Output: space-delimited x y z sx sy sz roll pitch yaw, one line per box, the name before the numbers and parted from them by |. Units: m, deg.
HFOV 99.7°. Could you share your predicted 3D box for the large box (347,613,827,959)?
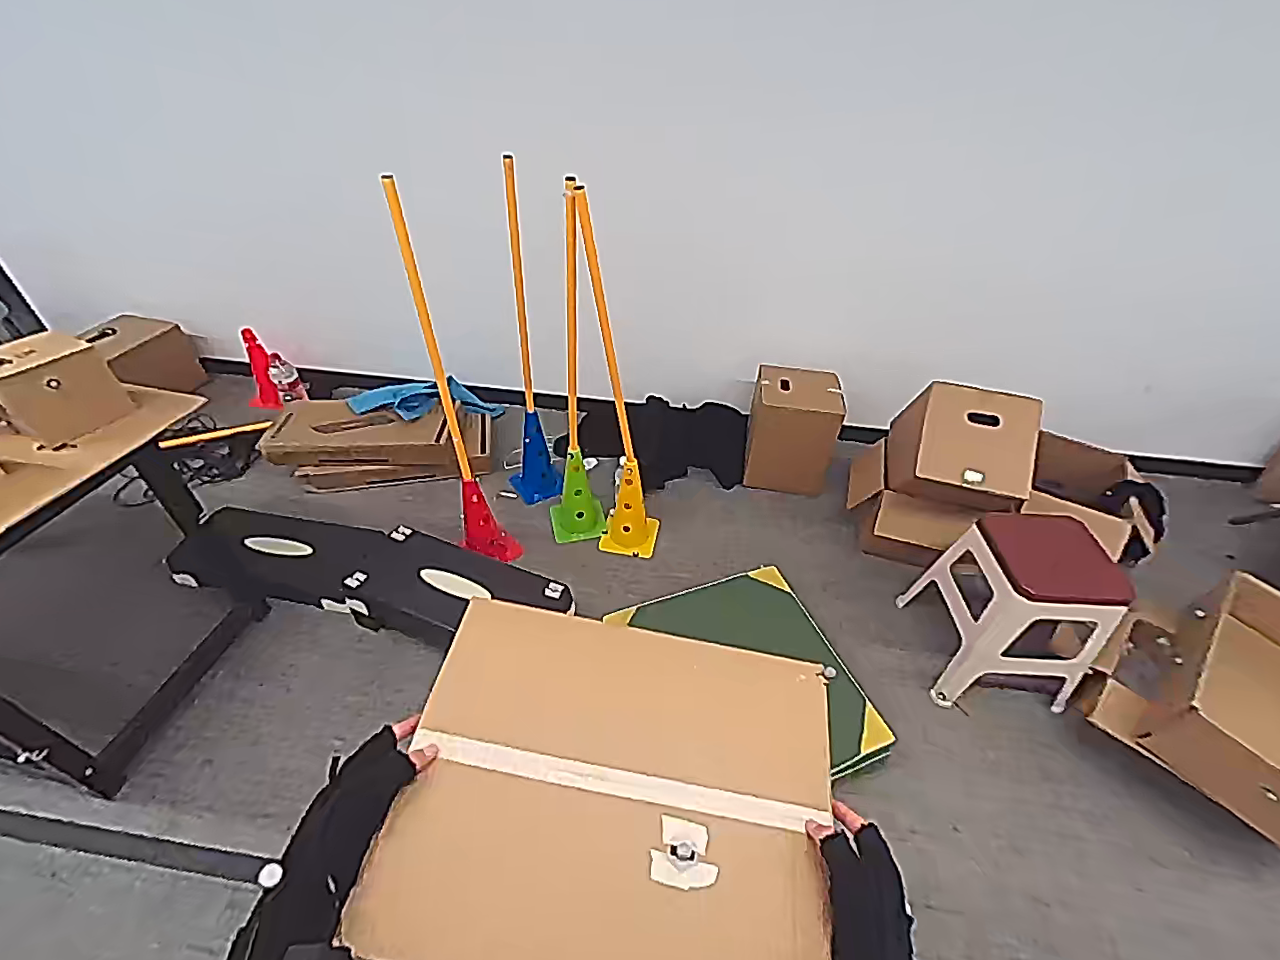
large box | -0.036 0.396 0.636 0.408 0.320 0.320 11 50 2
